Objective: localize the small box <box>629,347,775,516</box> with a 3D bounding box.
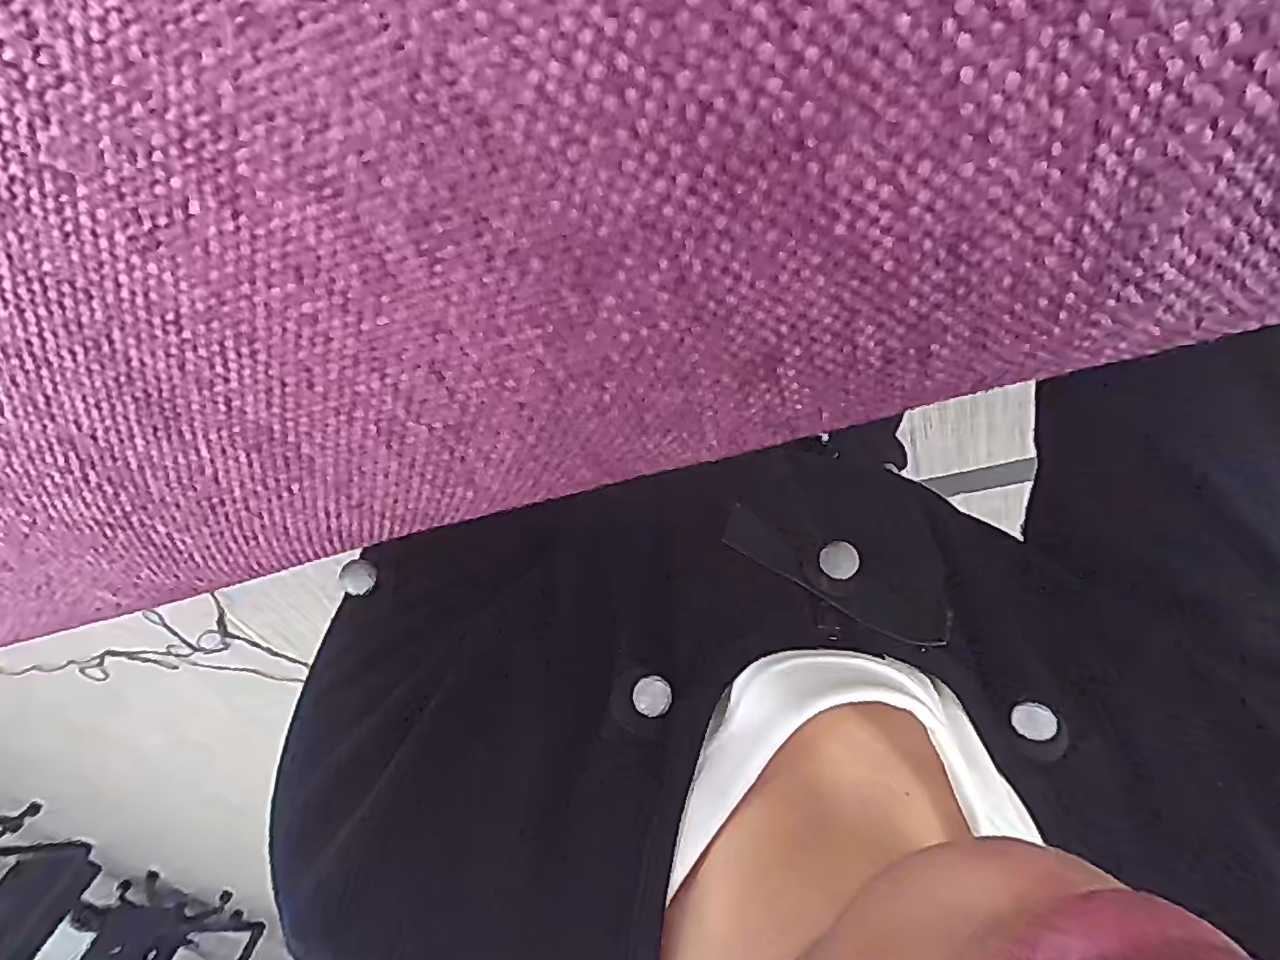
[{"bbox_3d":[0.078,-0.069,0.727,0.179,0.168,0.176,-2,127,6],"label":"small box"}]
